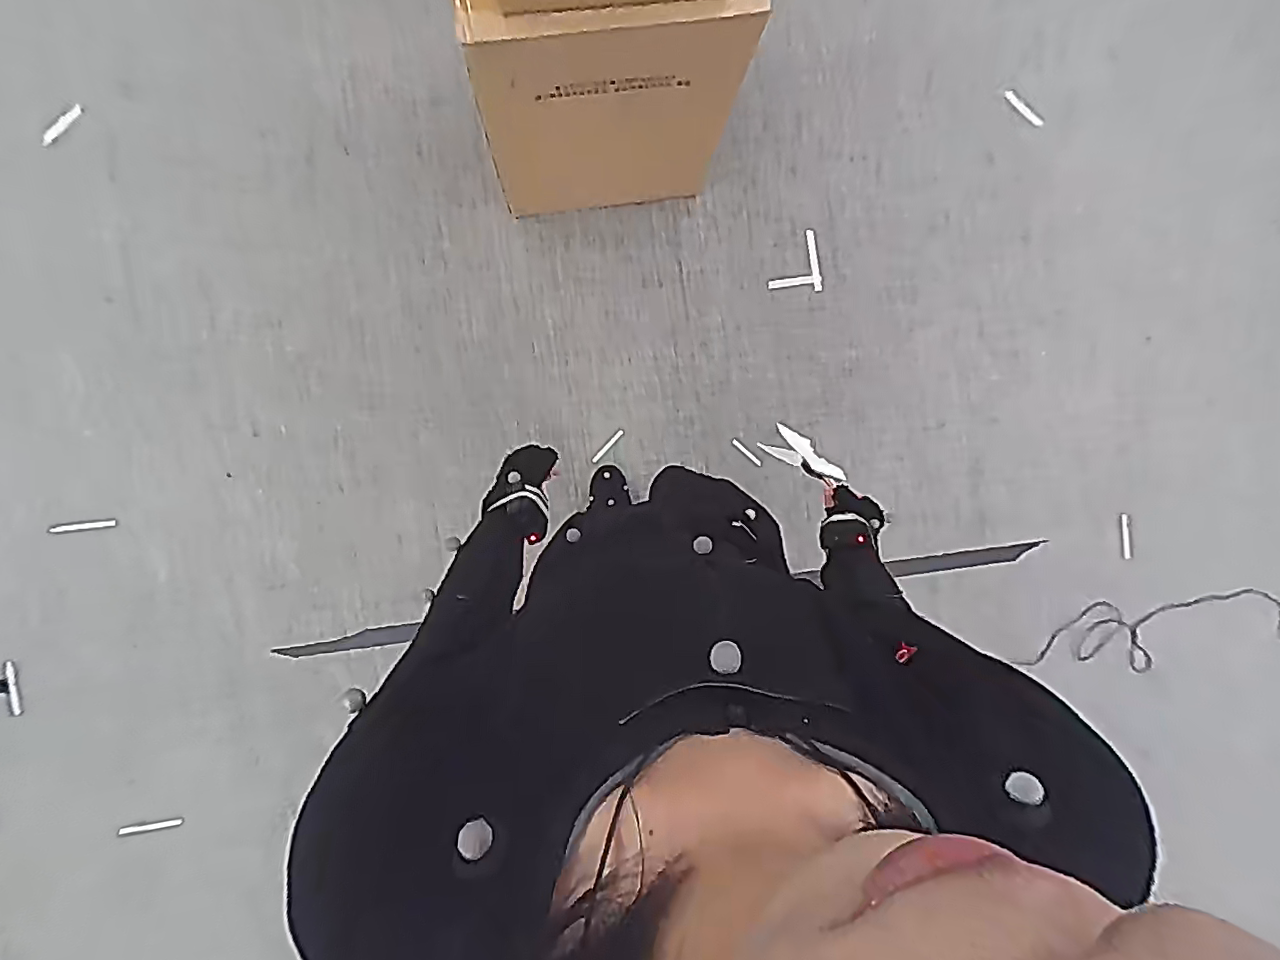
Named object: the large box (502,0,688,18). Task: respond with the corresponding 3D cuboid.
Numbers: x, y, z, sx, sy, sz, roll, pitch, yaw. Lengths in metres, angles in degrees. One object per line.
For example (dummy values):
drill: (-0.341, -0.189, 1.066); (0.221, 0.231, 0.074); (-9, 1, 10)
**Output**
large box: (-0.037, -0.926, 0.741); (0.408, 0.320, 0.320); (-10, 93, -6)
